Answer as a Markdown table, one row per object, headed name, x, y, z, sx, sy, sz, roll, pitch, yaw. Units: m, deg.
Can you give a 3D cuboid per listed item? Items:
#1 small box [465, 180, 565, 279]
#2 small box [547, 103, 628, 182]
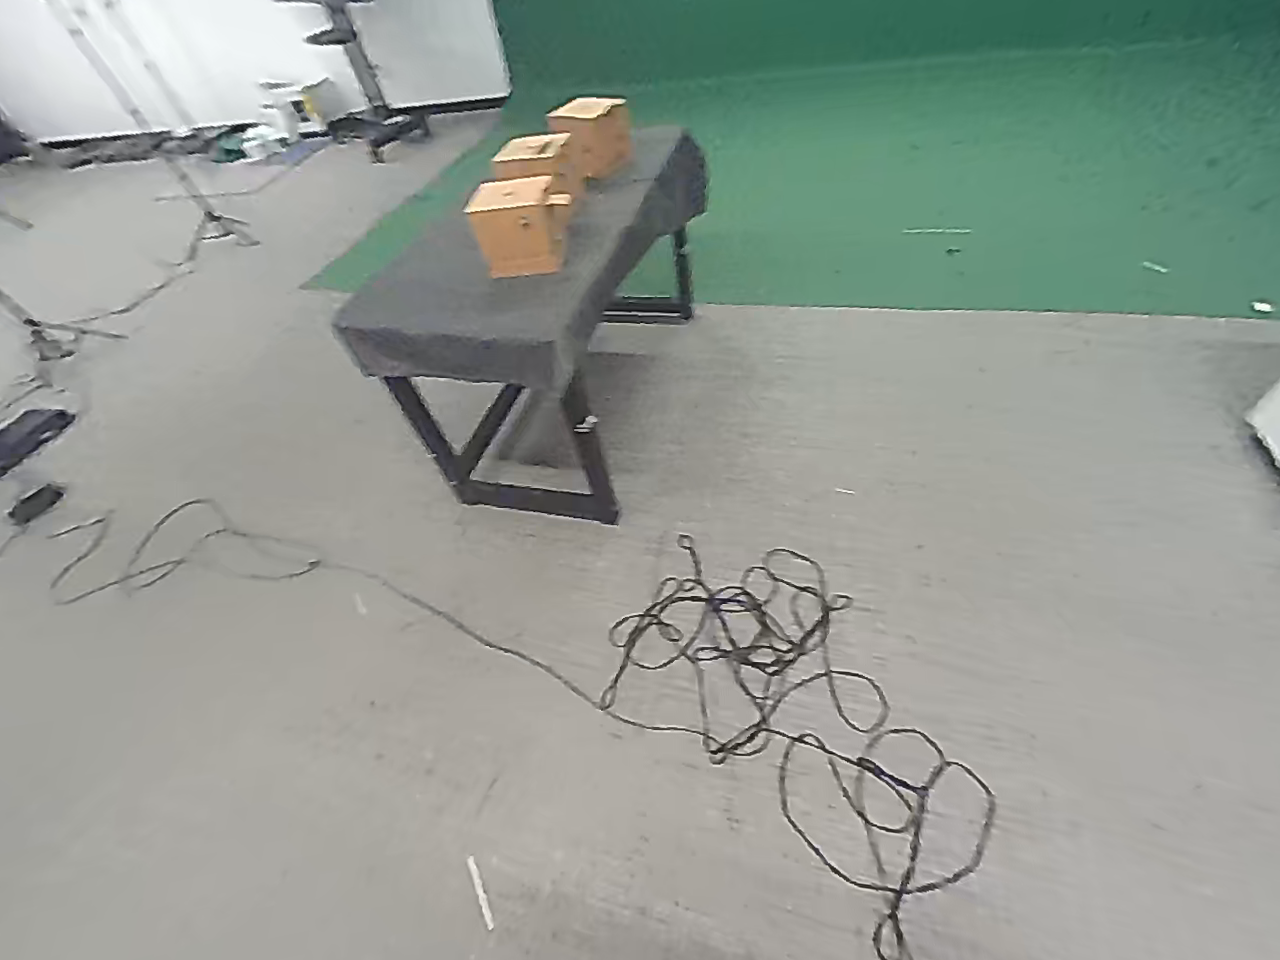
| name | x | y | z | sx | sy | sz | roll | pitch | yaw |
| --- | --- | --- | --- | --- | --- | --- | --- | --- | --- |
| small box | -0.299 | -0.613 | 1.335 | 0.179 | 0.176 | 0.168 | -2 | 49 | 9 |
| small box | -0.155 | -1.051 | 1.687 | 0.179 | 0.176 | 0.168 | 23 | 56 | 28 |
